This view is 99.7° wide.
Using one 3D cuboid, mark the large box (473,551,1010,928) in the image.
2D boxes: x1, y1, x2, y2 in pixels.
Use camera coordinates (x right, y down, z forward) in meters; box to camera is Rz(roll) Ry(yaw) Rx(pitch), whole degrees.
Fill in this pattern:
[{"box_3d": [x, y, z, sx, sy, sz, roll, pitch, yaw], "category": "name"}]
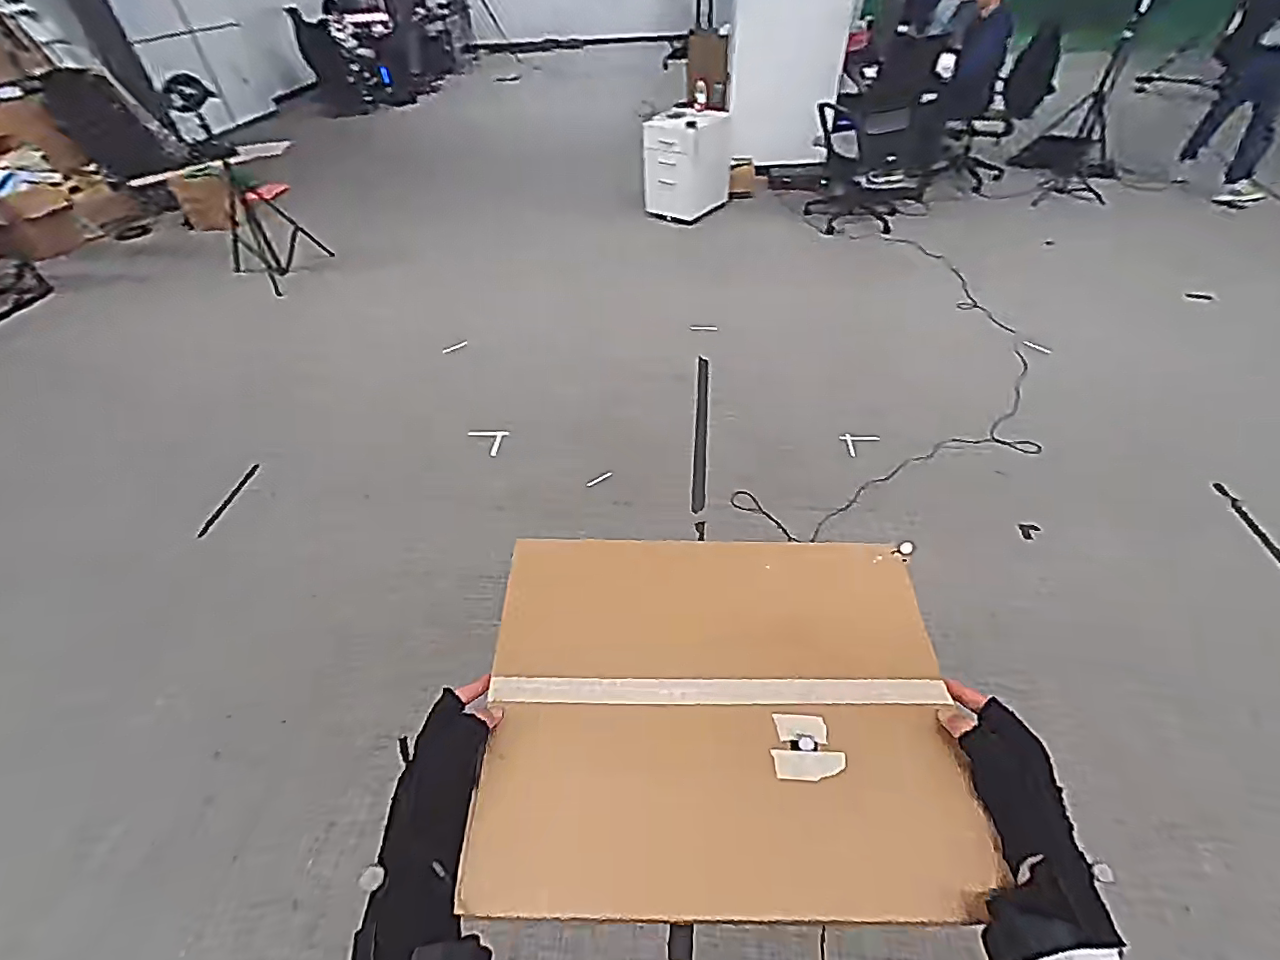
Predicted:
[{"box_3d": [0.072, 0.291, 0.600, 0.408, 0.320, 0.320, 1, 52, 0], "category": "large box"}]
